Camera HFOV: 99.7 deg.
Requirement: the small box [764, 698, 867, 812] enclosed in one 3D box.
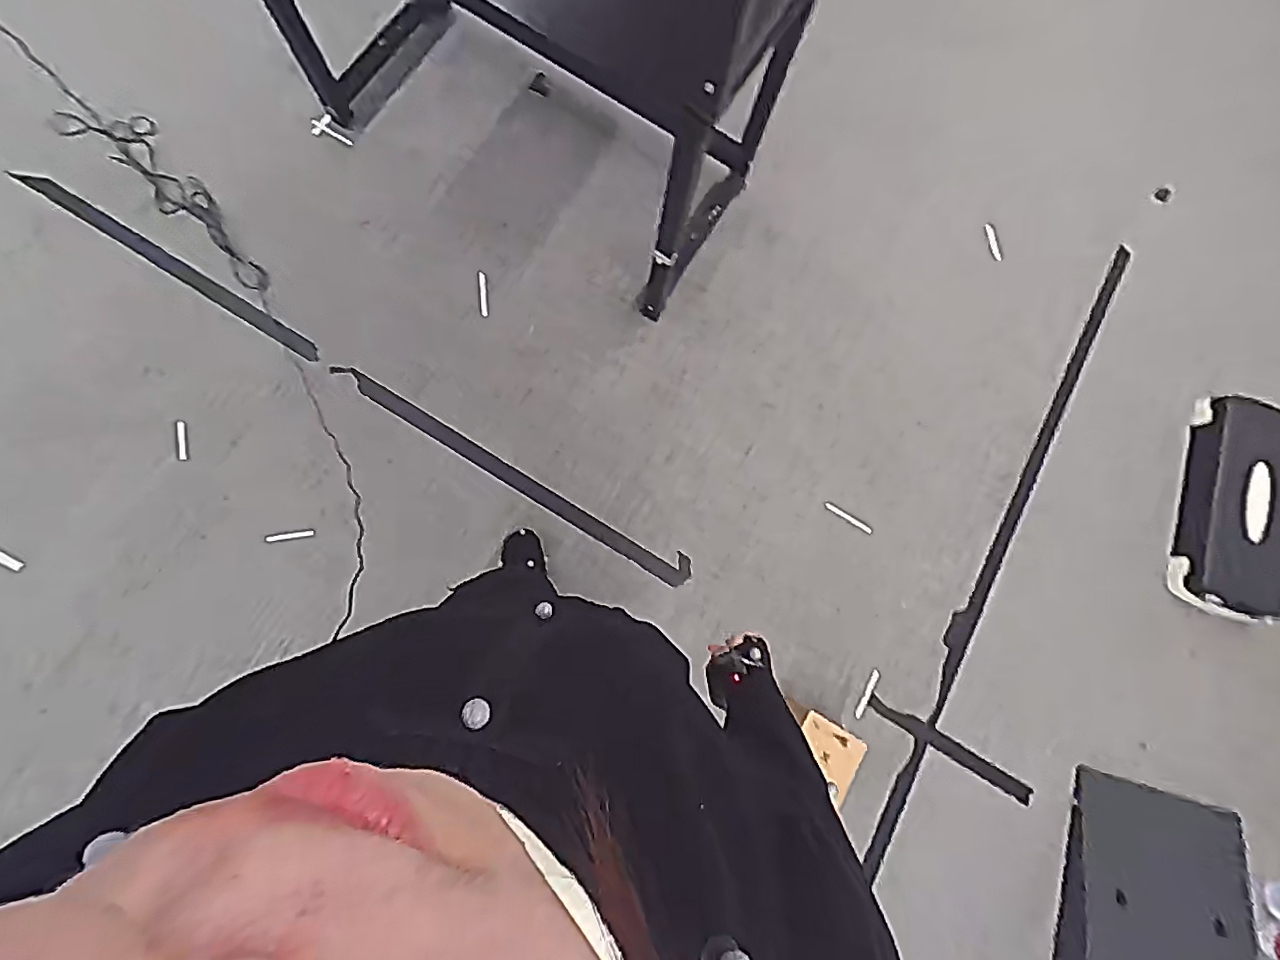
[{"bbox_3d":[0.437,0.691,1.382,0.168,0.176,0.179,32,80,1],"label":"small box"}]
